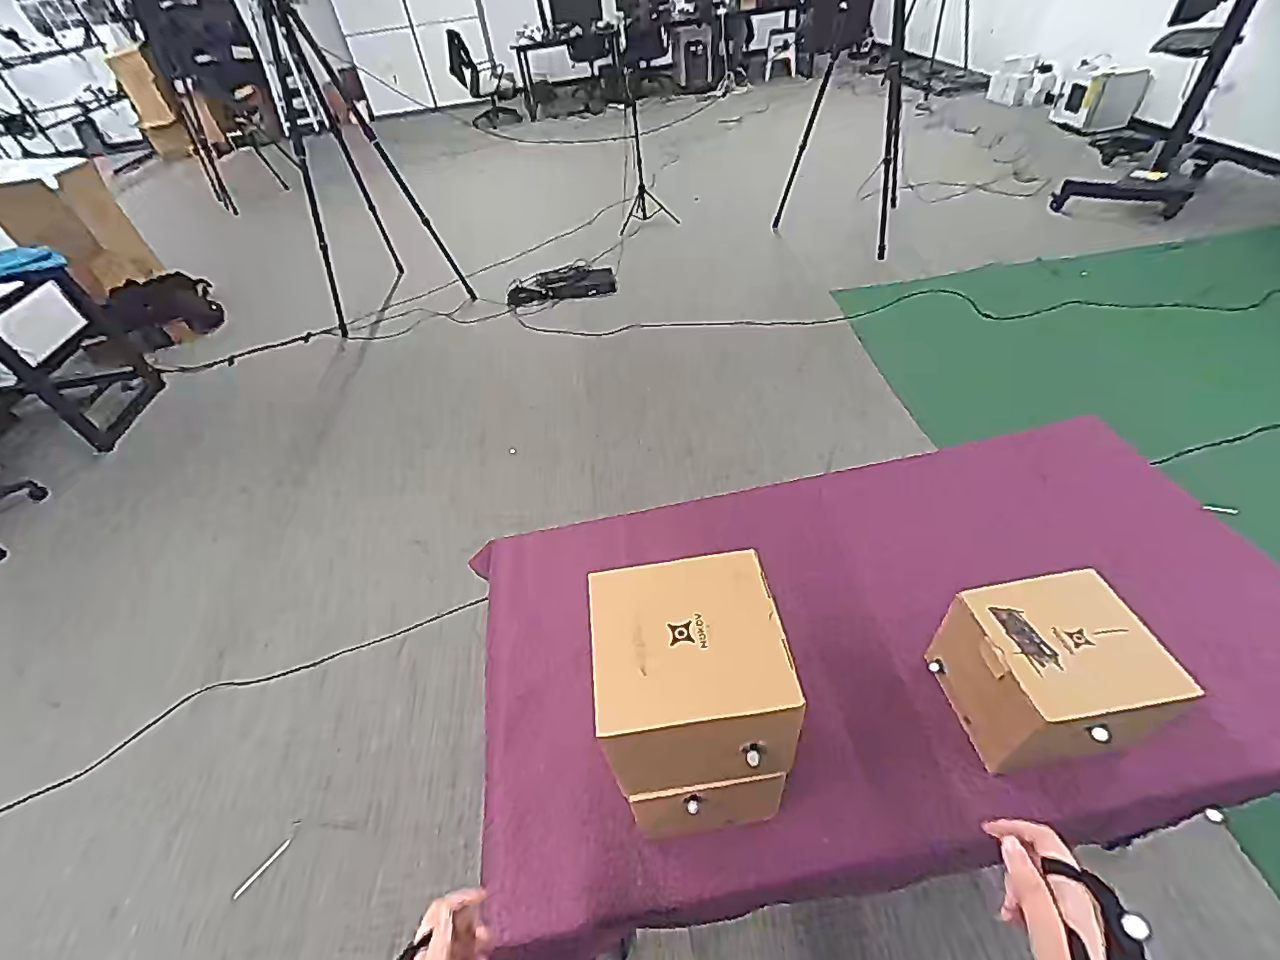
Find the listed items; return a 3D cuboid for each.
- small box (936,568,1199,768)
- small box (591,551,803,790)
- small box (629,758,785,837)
[{"bbox_3d":[0.499,0.237,0.673,0.179,0.176,0.168,-10,45,-1],"label":"small box"},{"bbox_3d":[0.051,0.197,0.555,0.179,0.176,0.168,-9,45,1],"label":"small box"},{"bbox_3d":[0.070,0.313,0.671,0.168,0.176,0.179,-10,45,0],"label":"small box"}]
